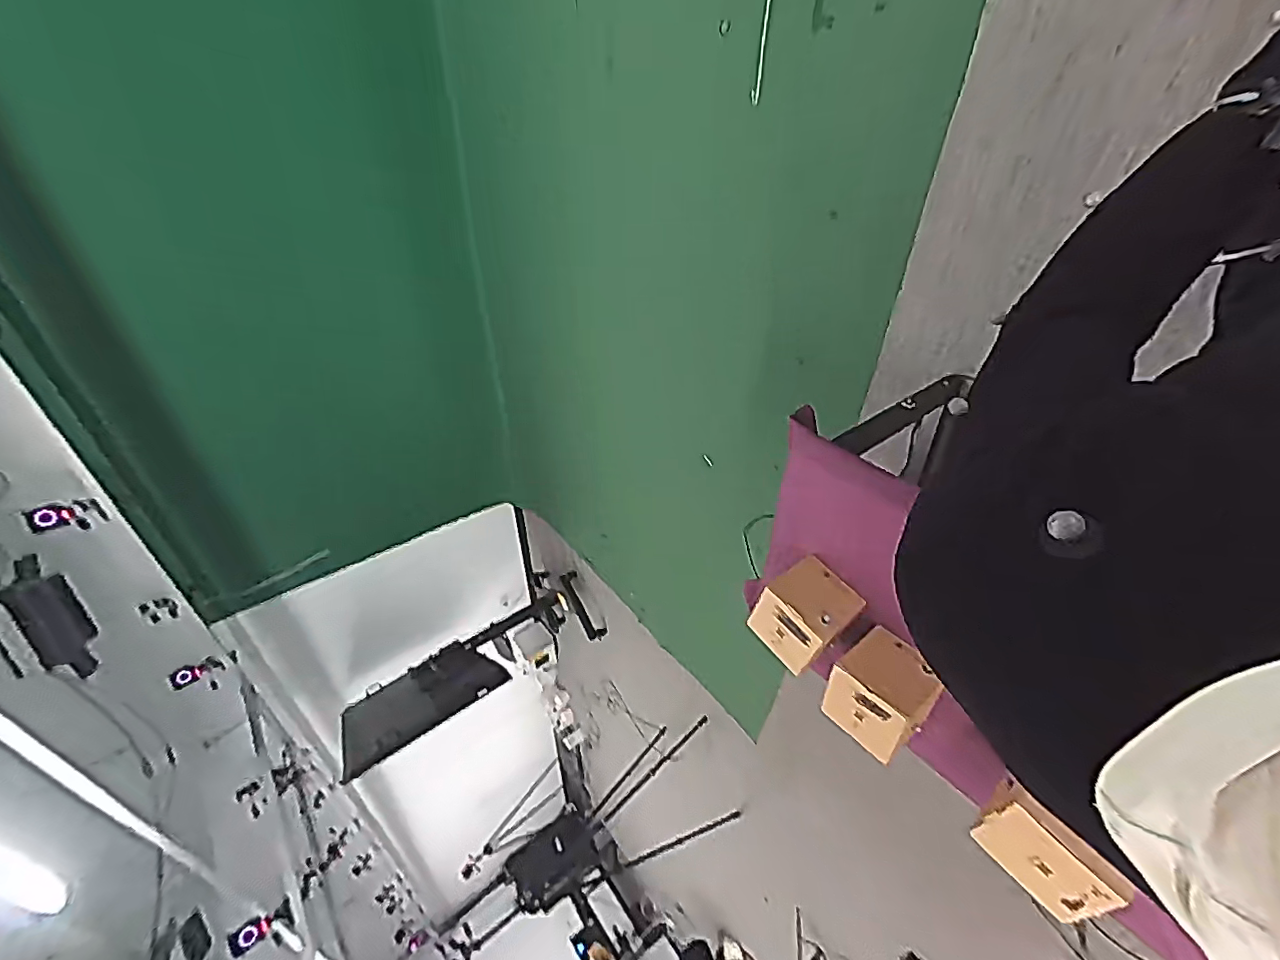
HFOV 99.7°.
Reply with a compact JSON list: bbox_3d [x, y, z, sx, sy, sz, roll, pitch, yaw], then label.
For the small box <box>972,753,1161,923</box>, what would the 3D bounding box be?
[{"bbox_3d":[0.742,0.615,0.949,0.179,0.176,0.168,44,144,33],"label":"small box"}]
